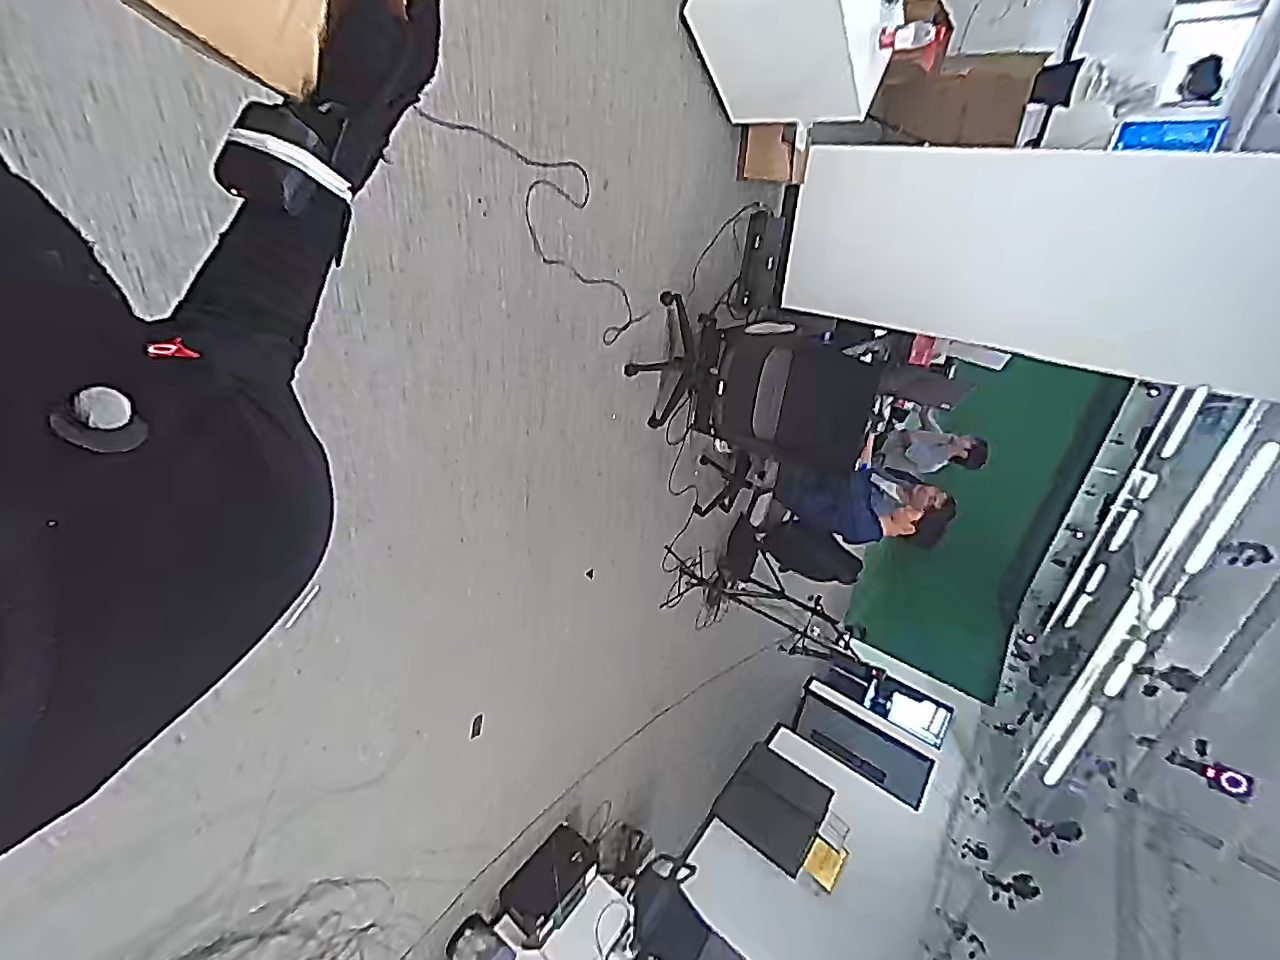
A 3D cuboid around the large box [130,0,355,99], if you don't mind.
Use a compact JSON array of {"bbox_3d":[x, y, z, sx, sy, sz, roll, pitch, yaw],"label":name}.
[{"bbox_3d":[-0.390,-0.532,0.314,0.320,0.320,0.408,-57,148,12],"label":"large box"}]
